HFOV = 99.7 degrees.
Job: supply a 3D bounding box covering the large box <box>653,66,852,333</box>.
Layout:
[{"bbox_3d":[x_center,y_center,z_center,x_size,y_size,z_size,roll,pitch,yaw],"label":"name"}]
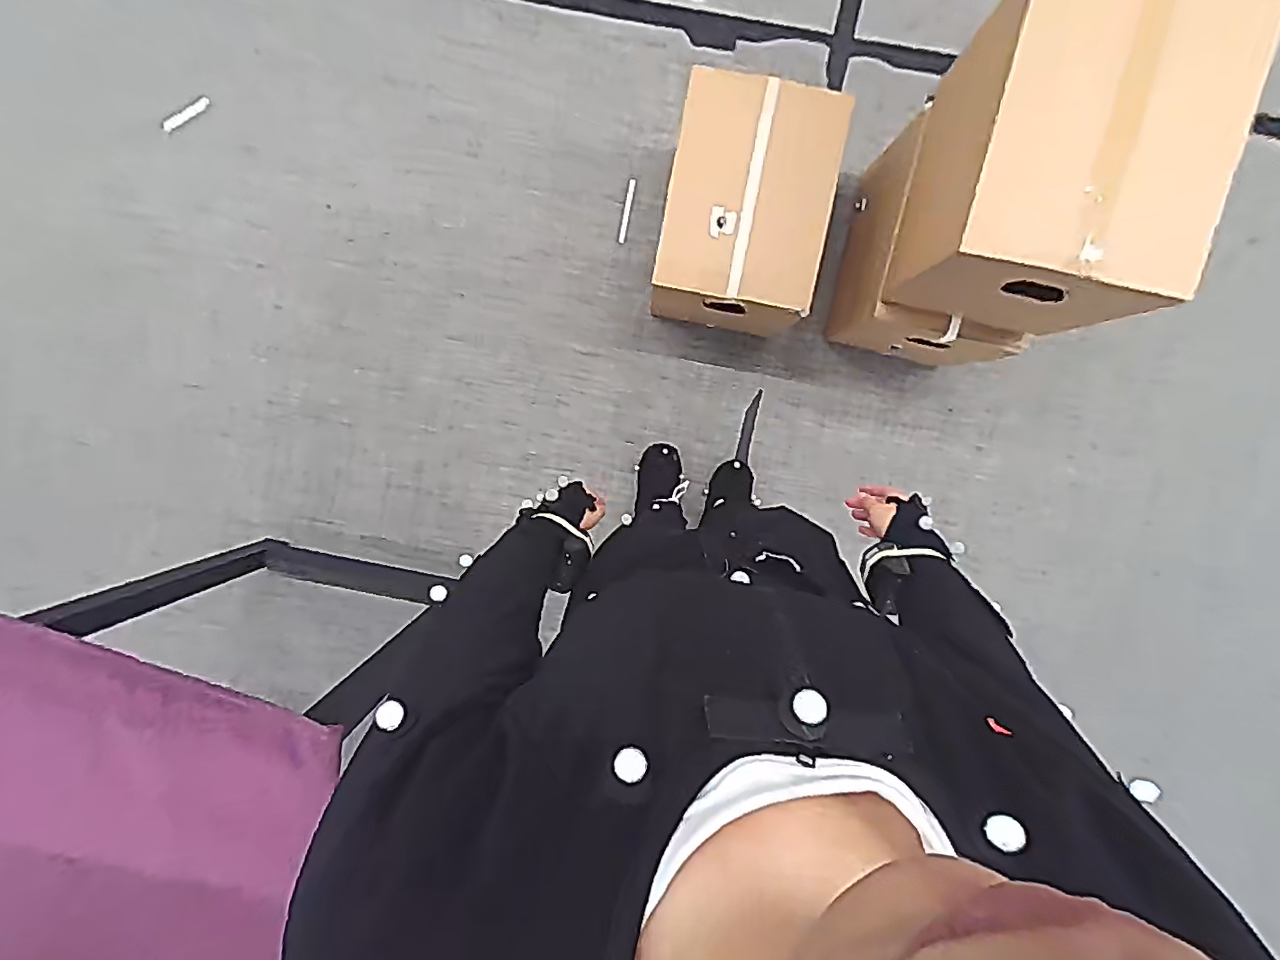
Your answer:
[{"bbox_3d":[0.213,-0.565,1.167,0.320,0.320,0.408,10,97,0],"label":"large box"}]
